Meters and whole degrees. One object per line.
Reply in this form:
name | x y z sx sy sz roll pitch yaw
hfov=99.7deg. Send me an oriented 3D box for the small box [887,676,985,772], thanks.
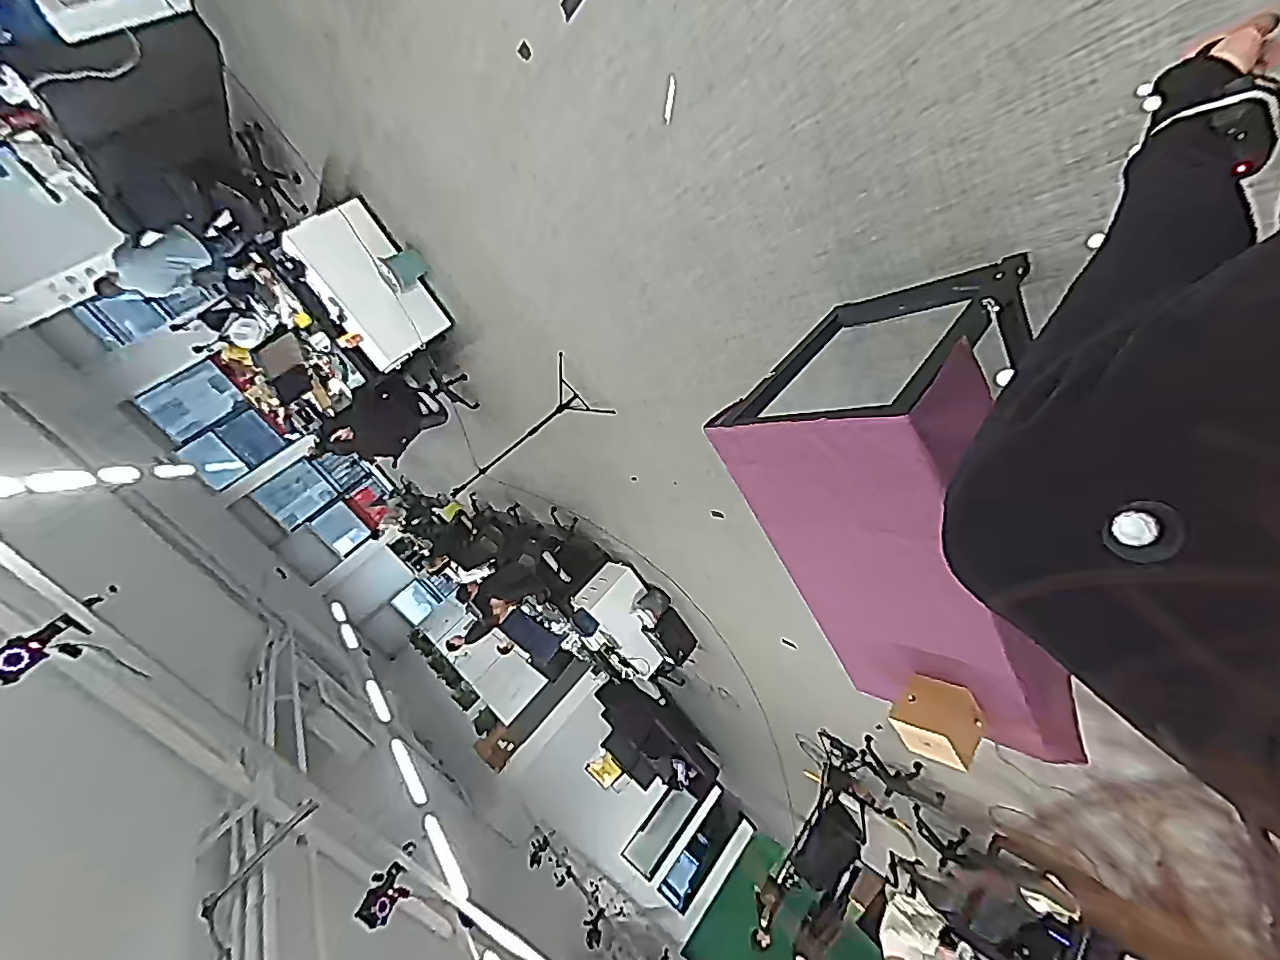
small box | 0.873 0.707 1.593 0.168 0.176 0.179 54 154 -19
